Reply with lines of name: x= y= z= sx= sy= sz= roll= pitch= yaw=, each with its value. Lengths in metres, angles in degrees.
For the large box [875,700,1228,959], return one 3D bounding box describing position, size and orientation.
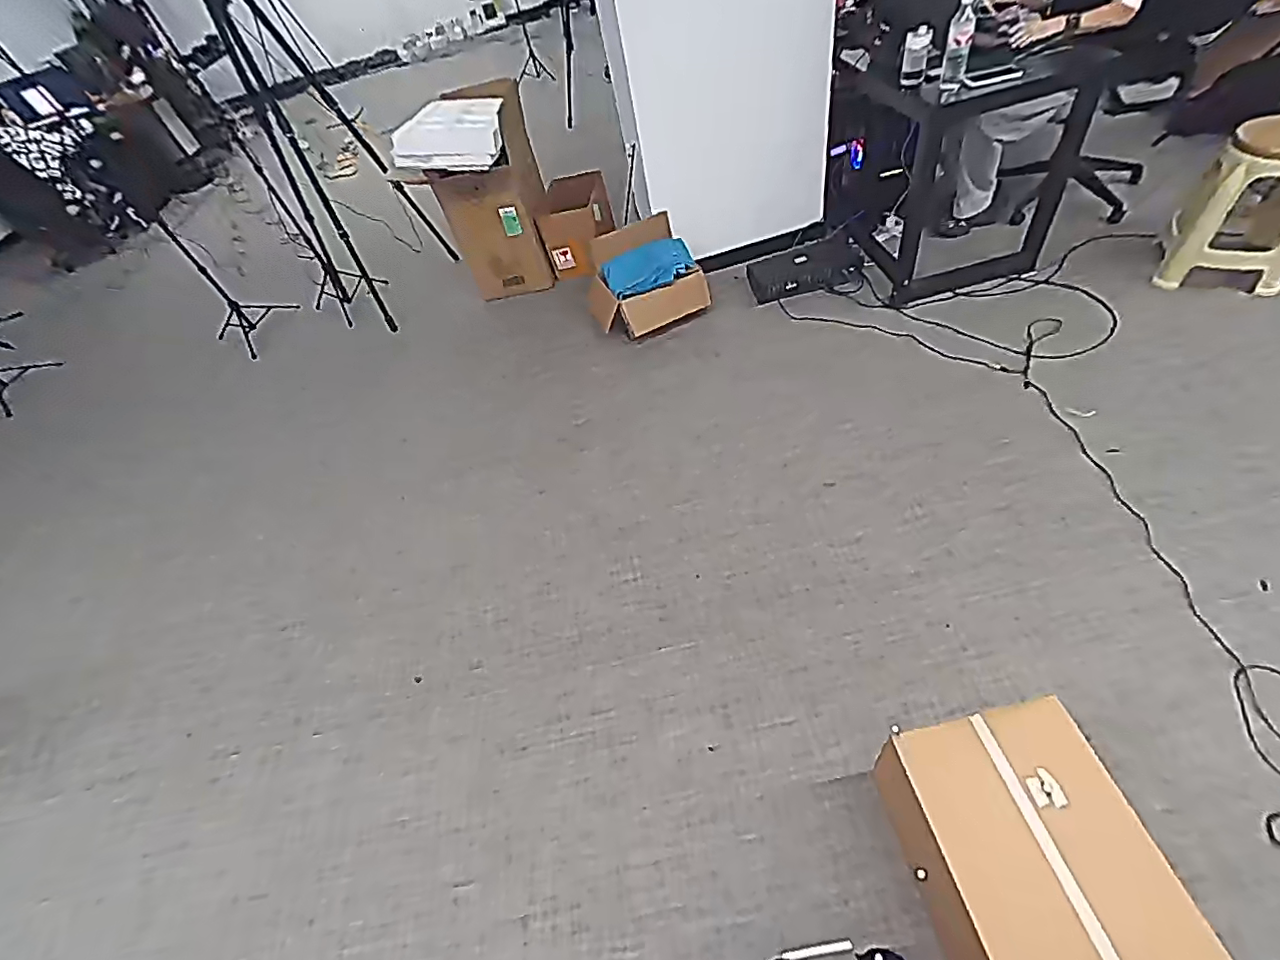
large box: x=0.686 y=0.690 z=0.998 sx=0.320 sy=0.320 sz=0.408 roll=-15 pitch=48 yaw=2
